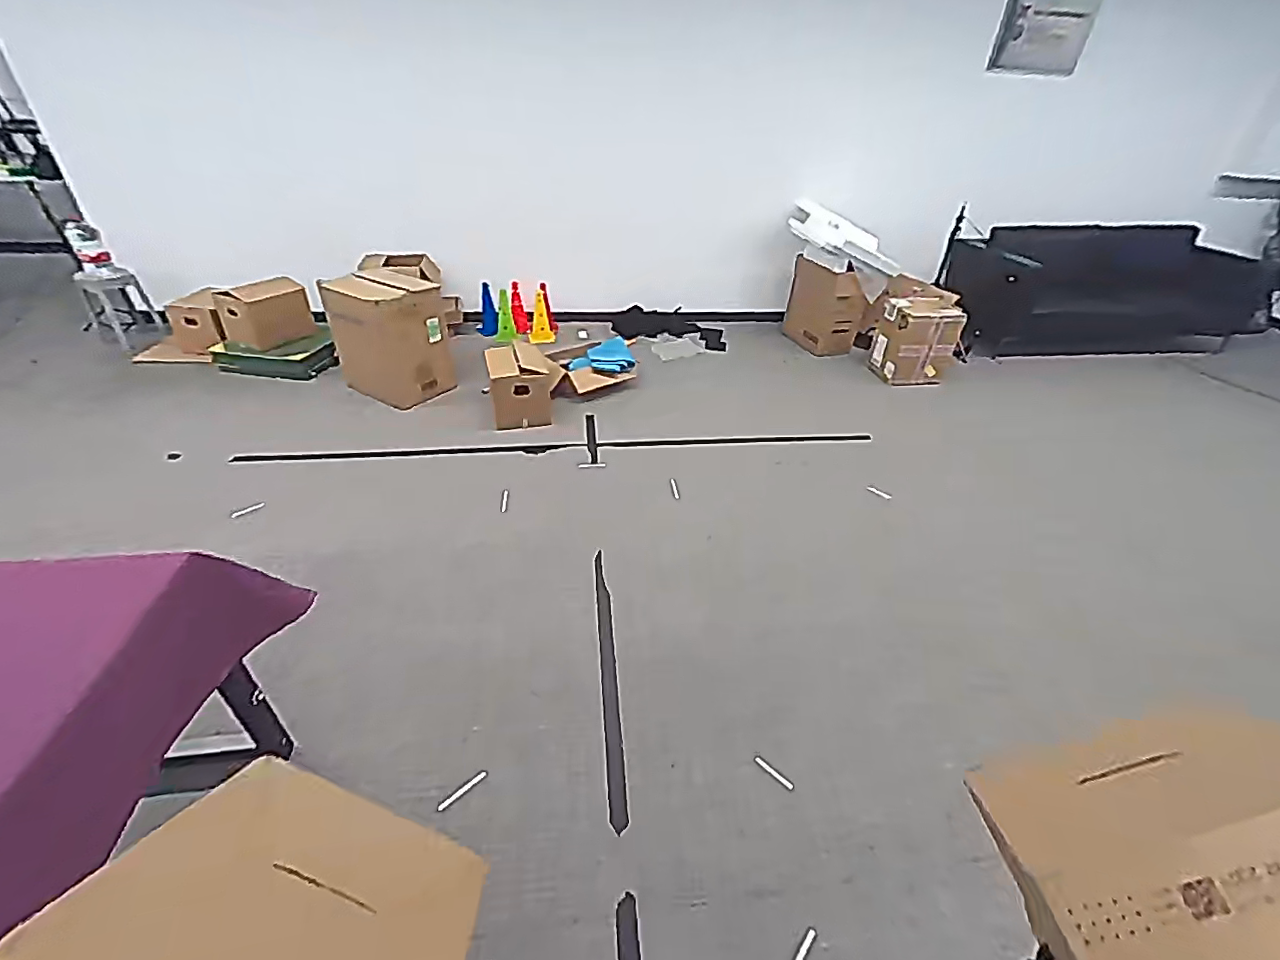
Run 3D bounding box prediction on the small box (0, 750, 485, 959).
[{"bbox_3d":[-0.196,0.262,0.257,0.168,0.179,0.176,28,81,-2],"label":"small box"}]
